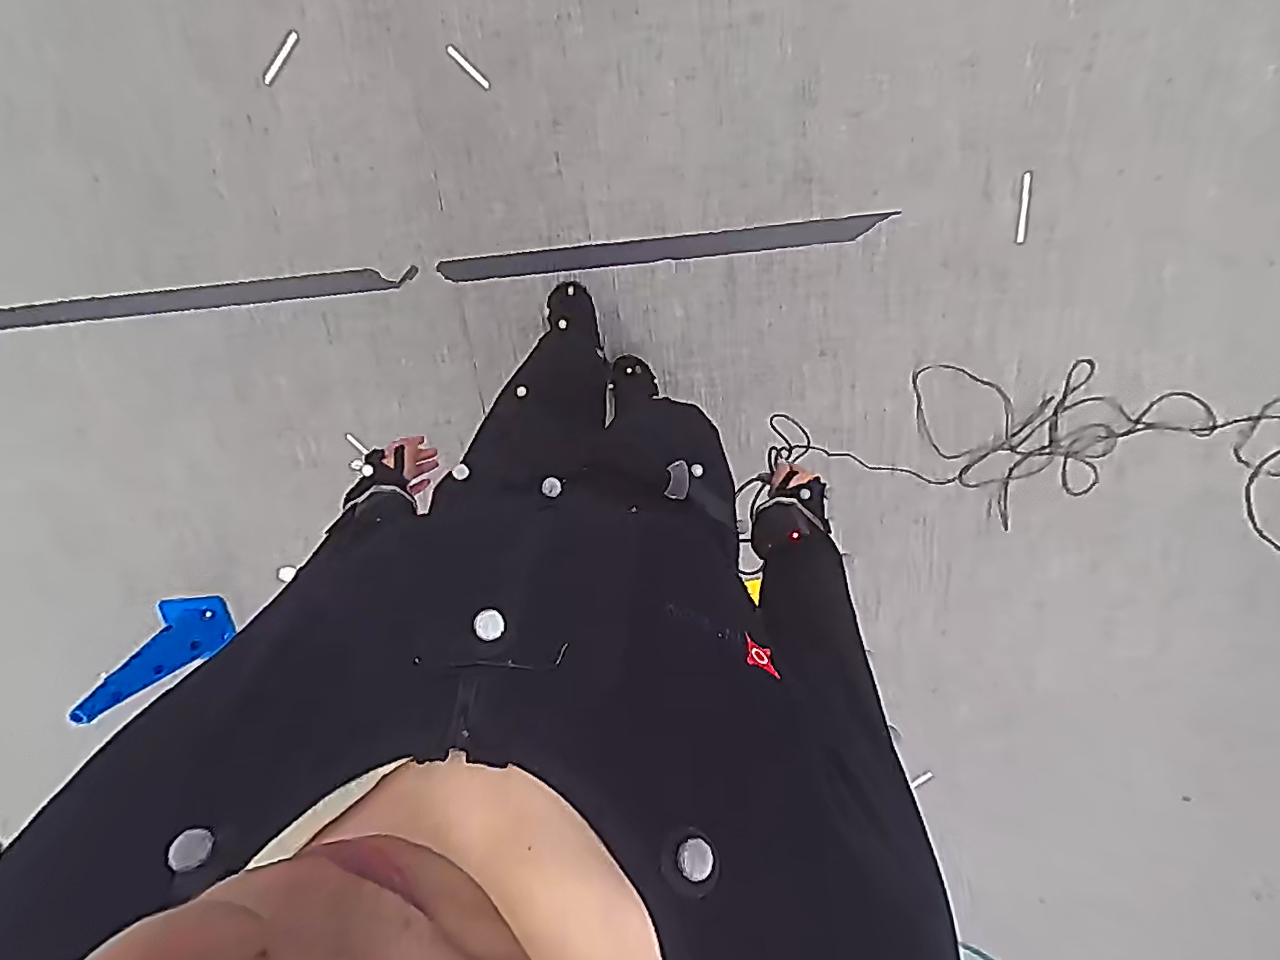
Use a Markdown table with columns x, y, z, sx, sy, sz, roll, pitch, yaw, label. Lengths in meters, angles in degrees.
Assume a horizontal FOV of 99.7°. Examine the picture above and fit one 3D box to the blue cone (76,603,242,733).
| x | y | z | sx | sy | sz | roll | pitch | yaw | label |
| --- | --- | --- | --- | --- | --- | --- | --- | --- | --- |
| -1.269 | 0.494 | 1.406 | 0.193 | 0.380 | 0.192 | -5 | 109 | 4 | blue cone |
